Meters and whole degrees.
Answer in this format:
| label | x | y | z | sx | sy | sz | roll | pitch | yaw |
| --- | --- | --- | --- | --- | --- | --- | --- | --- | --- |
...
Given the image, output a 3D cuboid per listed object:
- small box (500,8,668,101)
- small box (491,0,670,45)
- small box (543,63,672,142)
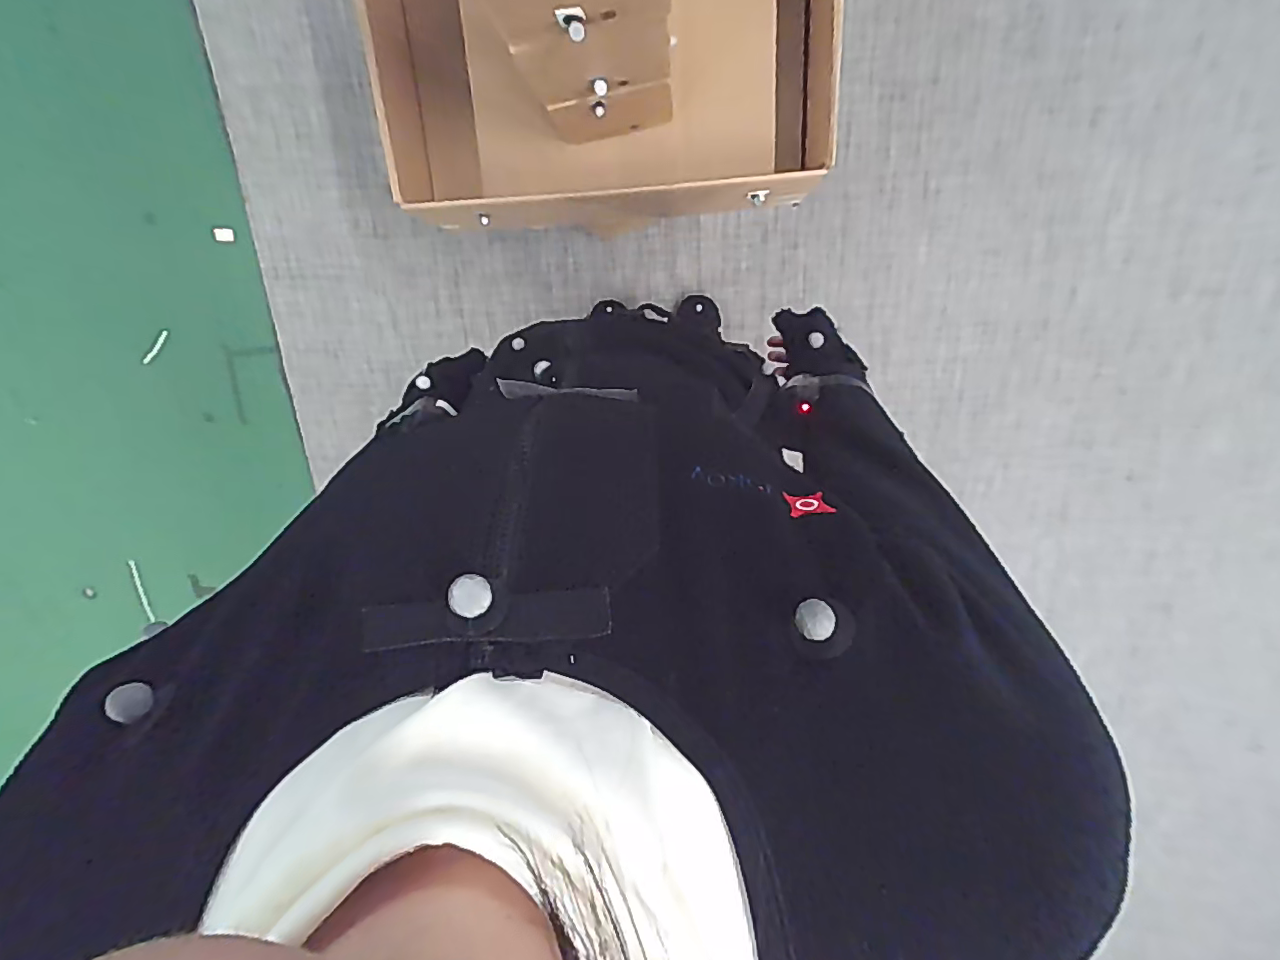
| label | x | y | z | sx | sy | sz | roll | pitch | yaw |
| --- | --- | --- | --- | --- | --- | --- | --- | --- | --- |
| small box | -0.061 | -0.551 | 0.584 | 0.168 | 0.176 | 0.179 | -7 | 108 | 7 |
| small box | -0.067 | -0.499 | 0.431 | 0.168 | 0.176 | 0.179 | -7 | 109 | 8 |
| small box | -0.049 | -0.600 | 0.741 | 0.168 | 0.176 | 0.179 | -8 | 107 | 8 |
